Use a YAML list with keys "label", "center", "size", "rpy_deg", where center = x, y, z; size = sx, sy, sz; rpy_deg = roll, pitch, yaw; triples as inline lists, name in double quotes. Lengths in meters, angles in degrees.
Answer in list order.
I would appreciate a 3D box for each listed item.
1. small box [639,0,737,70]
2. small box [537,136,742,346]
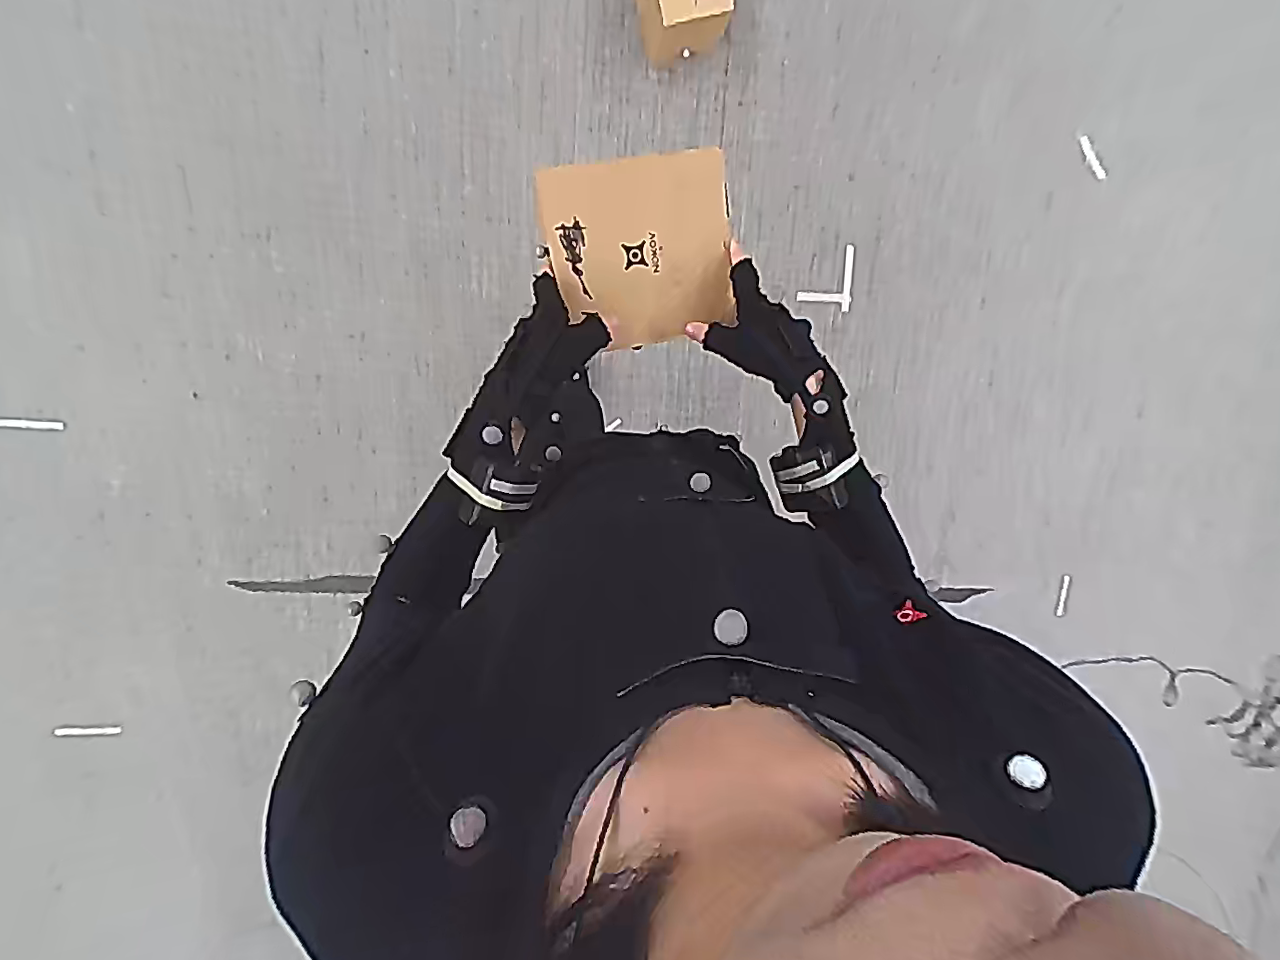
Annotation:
- label: "small box"
  center: [0.101, -1.092, 1.236]
  size: [0.168, 0.176, 0.179]
  rpy_deg: [-17, 103, -5]
- label: "small box"
  center: [-0.008, -0.243, 0.573]
  size: [0.179, 0.176, 0.168]
  rpy_deg: [-11, 109, -7]
